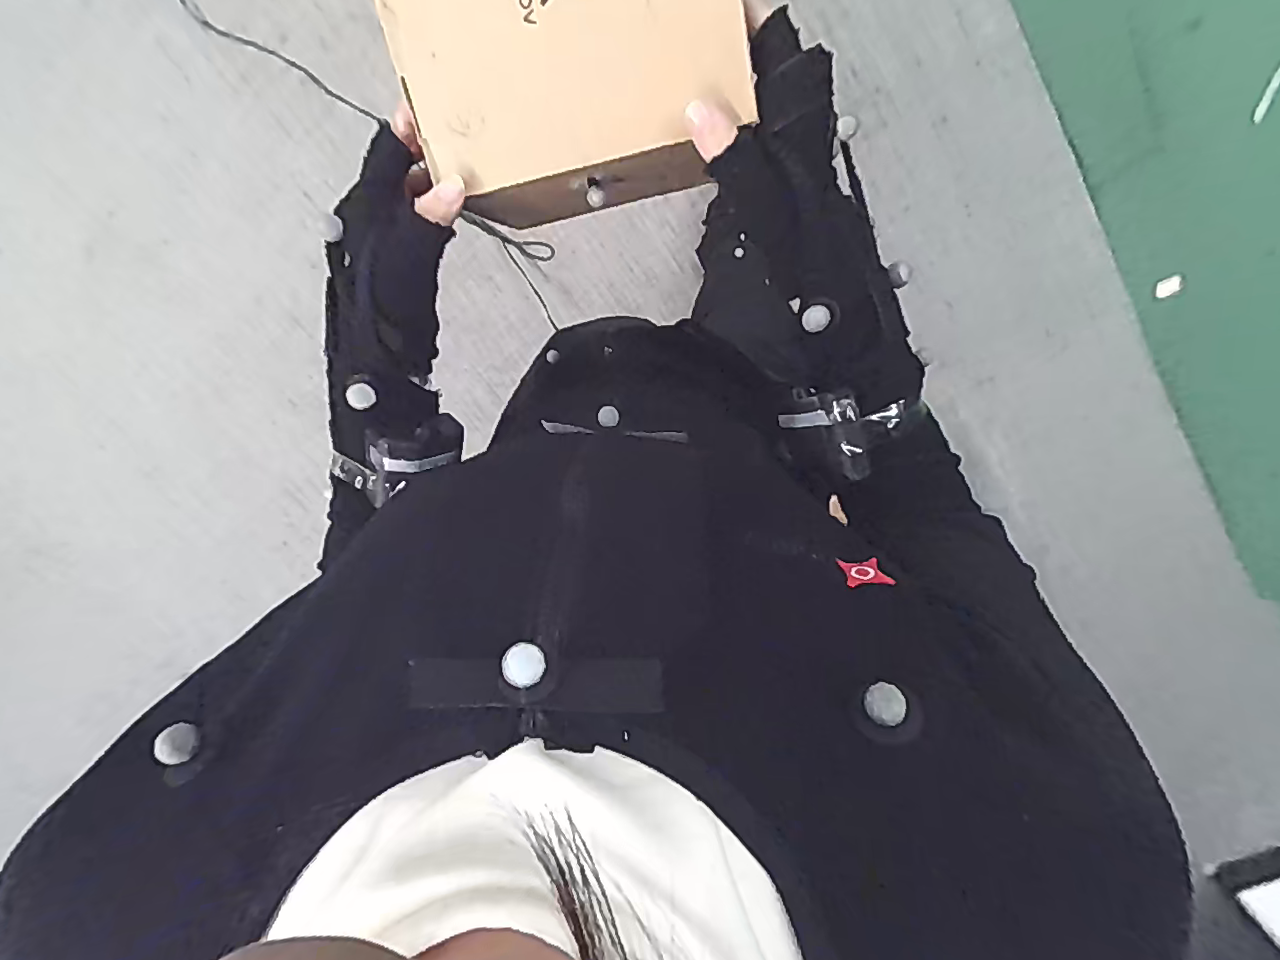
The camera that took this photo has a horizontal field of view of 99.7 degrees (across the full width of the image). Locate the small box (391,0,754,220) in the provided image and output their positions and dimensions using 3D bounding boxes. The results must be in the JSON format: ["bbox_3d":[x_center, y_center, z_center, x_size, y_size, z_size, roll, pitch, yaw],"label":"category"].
[{"bbox_3d":[-0.037,-0.280,0.343,0.179,0.176,0.168,-12,109,7],"label":"small box"}]
